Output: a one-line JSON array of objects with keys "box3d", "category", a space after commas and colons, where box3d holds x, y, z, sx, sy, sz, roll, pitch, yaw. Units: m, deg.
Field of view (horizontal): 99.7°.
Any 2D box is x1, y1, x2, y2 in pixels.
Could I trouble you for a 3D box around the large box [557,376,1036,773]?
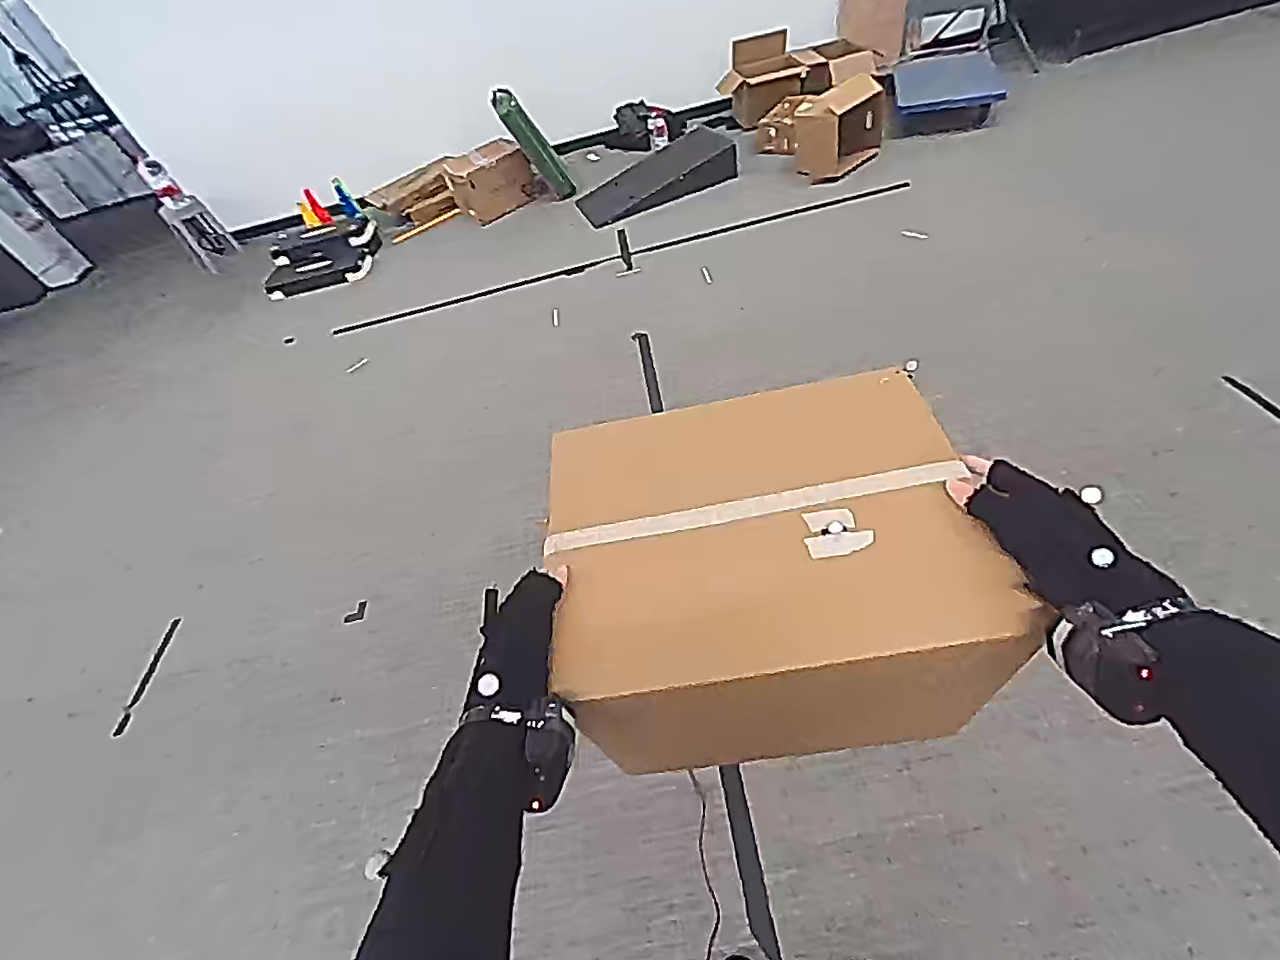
[{"box3d": [0.135, 0.126, 0.651, 0.408, 0.320, 0.320, -11, 51, 4], "category": "large box"}]
